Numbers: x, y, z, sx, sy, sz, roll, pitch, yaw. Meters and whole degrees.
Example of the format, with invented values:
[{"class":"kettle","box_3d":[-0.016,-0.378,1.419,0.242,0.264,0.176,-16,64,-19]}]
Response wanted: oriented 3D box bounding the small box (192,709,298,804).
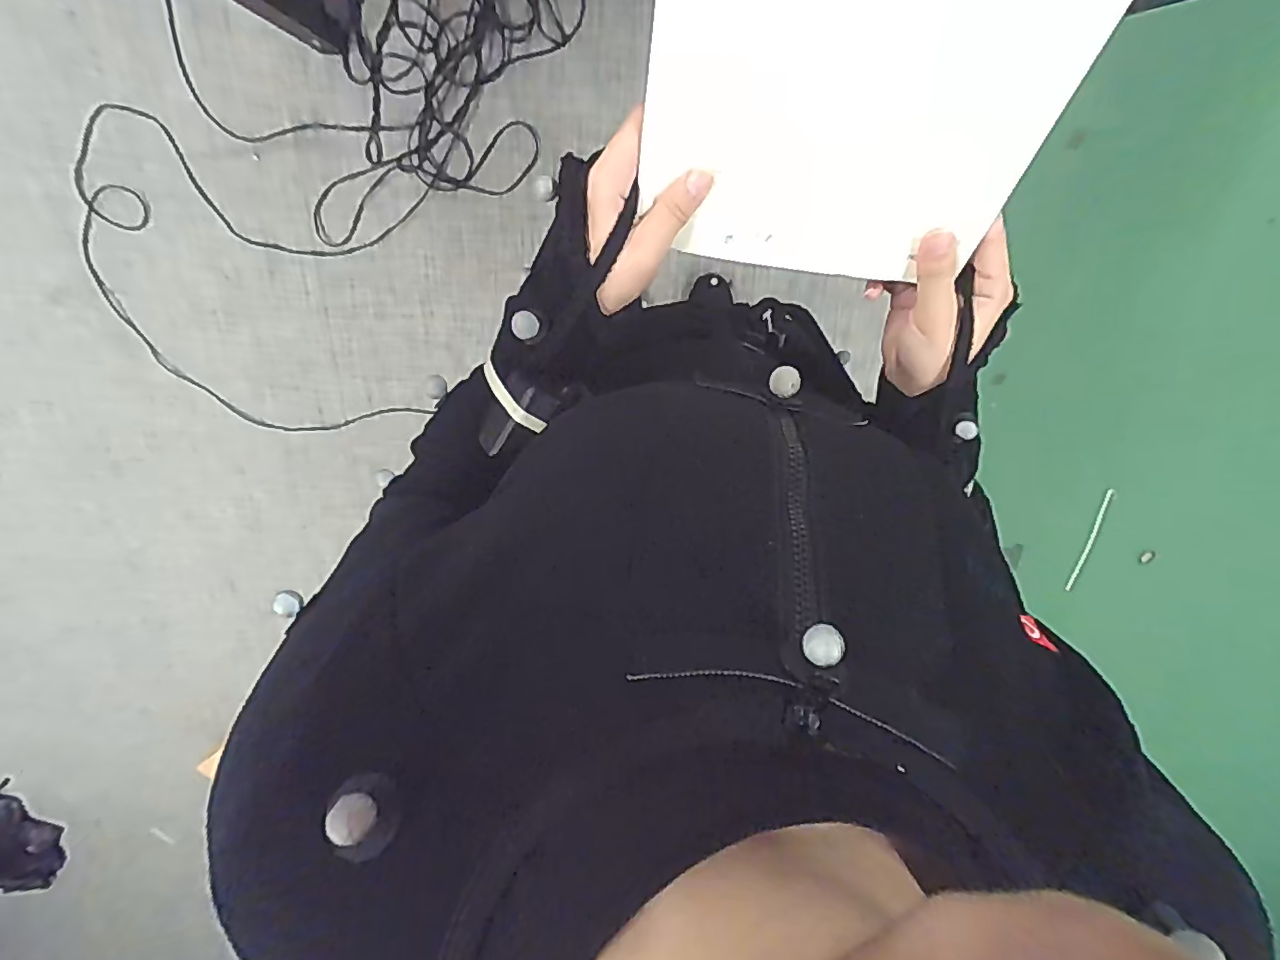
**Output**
[{"class":"small box","box_3d":[-1.221,0.859,1.688,0.179,0.176,0.168,-39,108,14]}]
